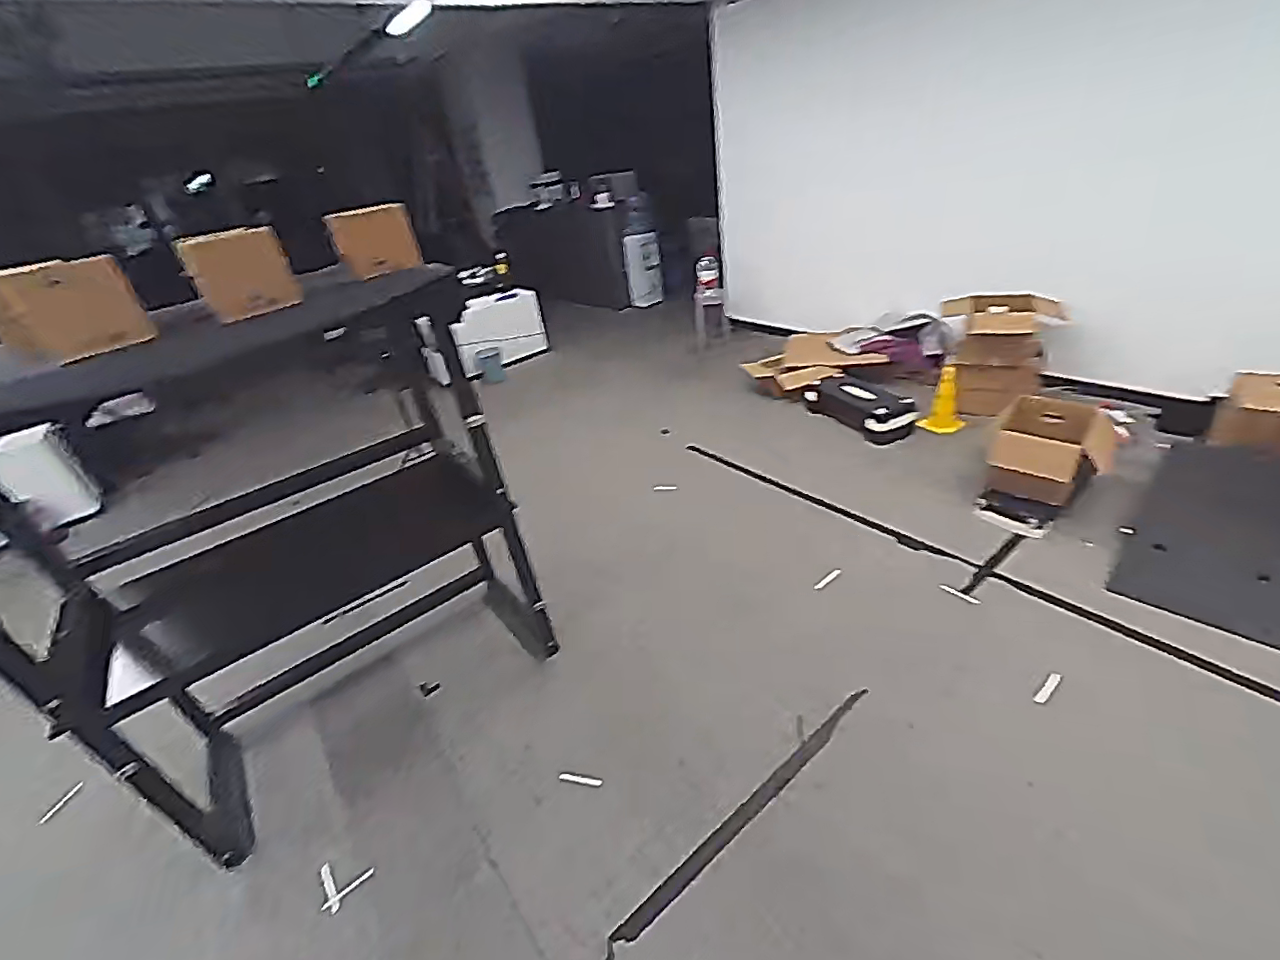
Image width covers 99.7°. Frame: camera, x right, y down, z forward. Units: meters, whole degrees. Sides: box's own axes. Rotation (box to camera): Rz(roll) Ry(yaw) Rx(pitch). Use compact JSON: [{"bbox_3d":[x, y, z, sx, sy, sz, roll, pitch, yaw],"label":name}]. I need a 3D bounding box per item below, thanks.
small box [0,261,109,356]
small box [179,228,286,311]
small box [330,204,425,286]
[{"bbox_3d":[-1.385,-0.400,1.253,0.168,0.176,0.179,-31,39,-30],"label":"small box"},{"bbox_3d":[-1.058,-0.549,1.410,0.168,0.176,0.179,-30,36,-30],"label":"small box"},{"bbox_3d":[-0.692,-0.621,1.429,0.168,0.176,0.179,-26,36,-24],"label":"small box"}]
